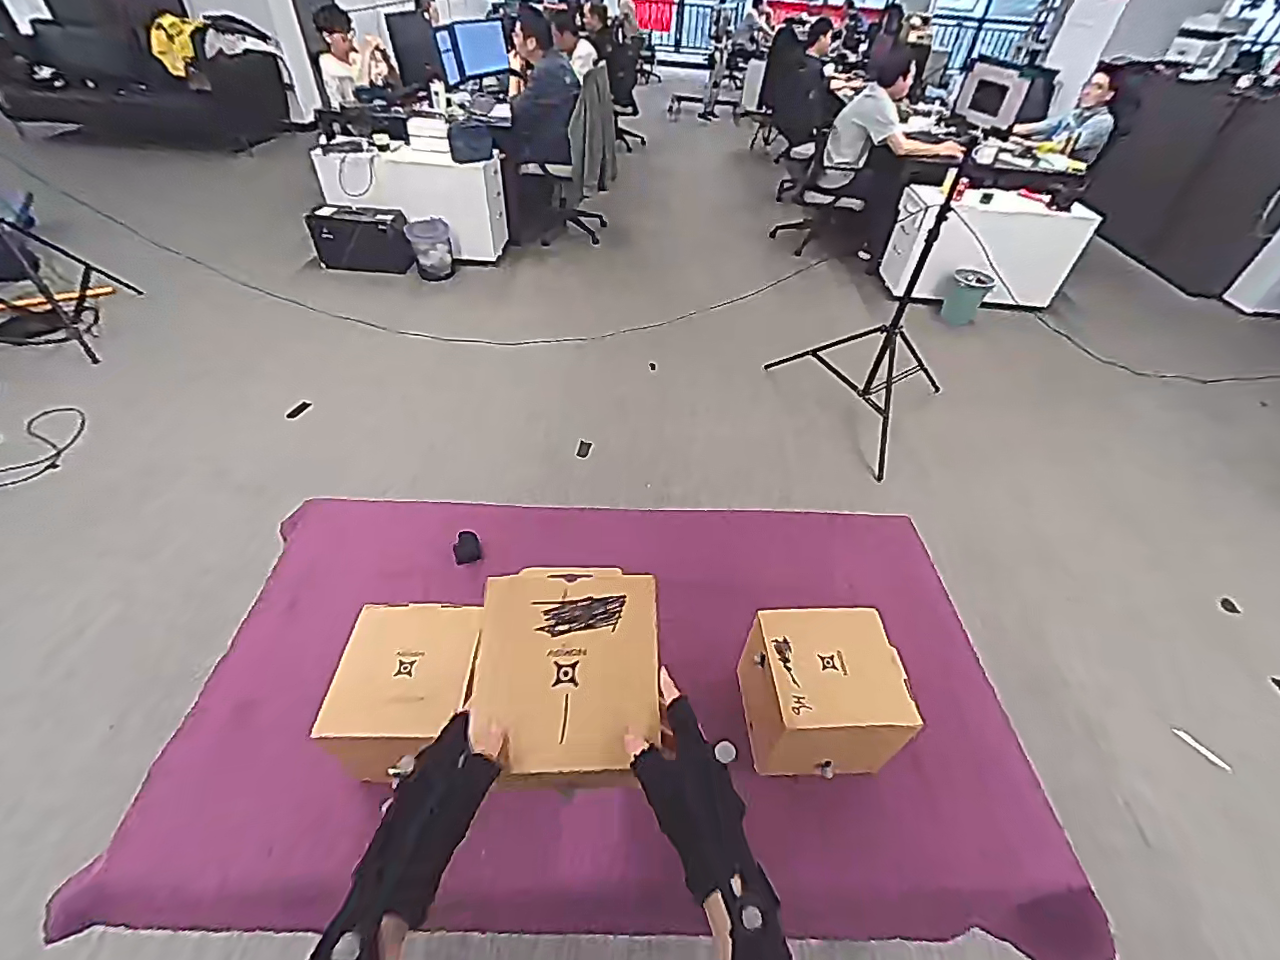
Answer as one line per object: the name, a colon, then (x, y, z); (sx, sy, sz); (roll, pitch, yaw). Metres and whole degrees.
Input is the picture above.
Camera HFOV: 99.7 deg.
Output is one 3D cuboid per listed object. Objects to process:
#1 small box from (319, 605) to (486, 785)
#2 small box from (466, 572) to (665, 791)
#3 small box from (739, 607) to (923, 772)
small box: (-0.289, 0.289, 0.729); (0.168, 0.176, 0.179); (0, 45, -3)
small box: (-0.066, 0.208, 0.551); (0.168, 0.176, 0.179); (-1, 57, -3)
small box: (0.252, 0.296, 0.764); (0.179, 0.176, 0.168); (1, 44, -4)
